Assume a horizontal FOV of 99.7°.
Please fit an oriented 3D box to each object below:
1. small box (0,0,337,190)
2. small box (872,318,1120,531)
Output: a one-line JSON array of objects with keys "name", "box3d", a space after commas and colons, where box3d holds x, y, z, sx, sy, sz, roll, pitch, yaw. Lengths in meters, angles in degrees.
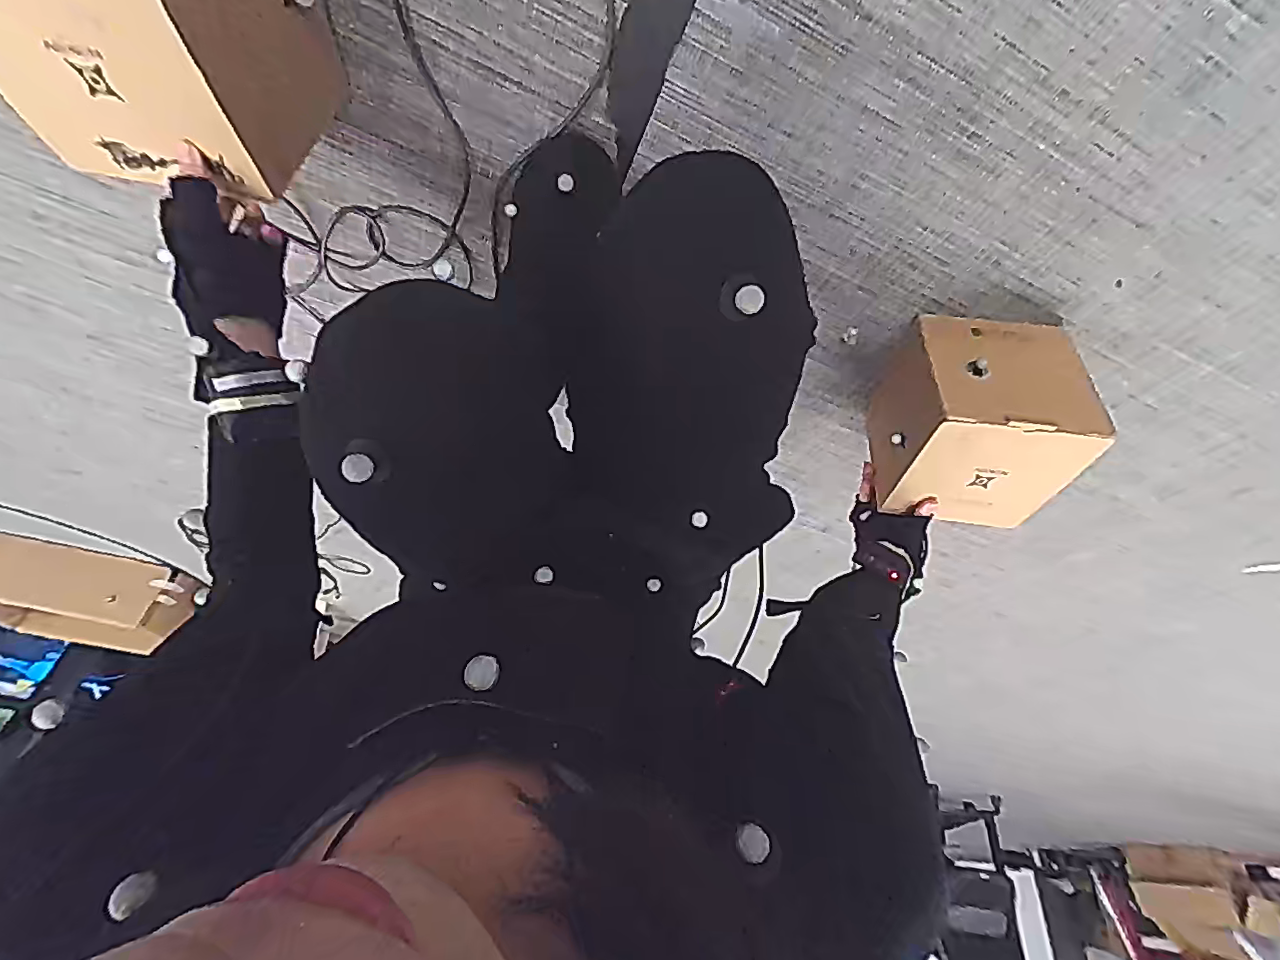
[{"name": "small box", "box3d": [-0.350, -0.346, 0.377, 0.168, 0.176, 0.179, 9, 151, -2]}, {"name": "small box", "box3d": [0.385, -0.064, 0.630, 0.168, 0.176, 0.179, 8, 145, 4]}]
